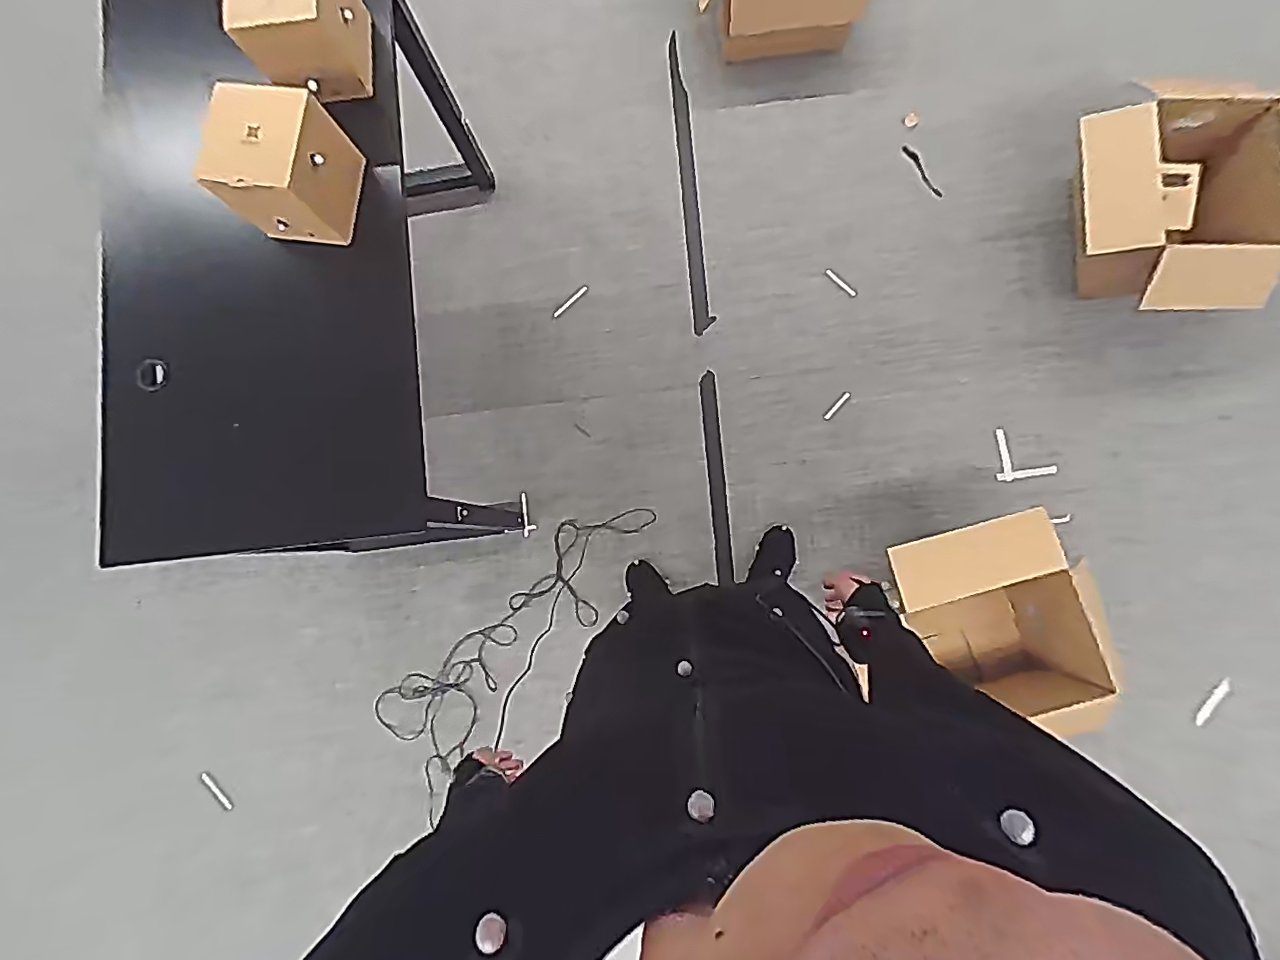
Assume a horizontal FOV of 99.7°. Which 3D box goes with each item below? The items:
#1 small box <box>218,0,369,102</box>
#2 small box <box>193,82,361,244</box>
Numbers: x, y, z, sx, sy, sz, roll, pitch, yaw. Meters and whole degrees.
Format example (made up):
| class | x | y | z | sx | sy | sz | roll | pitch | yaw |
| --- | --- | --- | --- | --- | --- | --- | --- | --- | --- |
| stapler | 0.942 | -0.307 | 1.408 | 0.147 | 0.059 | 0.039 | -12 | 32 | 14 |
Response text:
| class | x | y | z | sx | sy | sz | roll | pitch | yaw |
| --- | --- | --- | --- | --- | --- | --- | --- | --- | --- |
| small box | -0.612 | -0.826 | 0.973 | 0.168 | 0.176 | 0.179 | -4 | 85 | 4 |
| small box | -0.621 | -0.547 | 0.949 | 0.168 | 0.176 | 0.179 | 7 | 85 | 5 |
